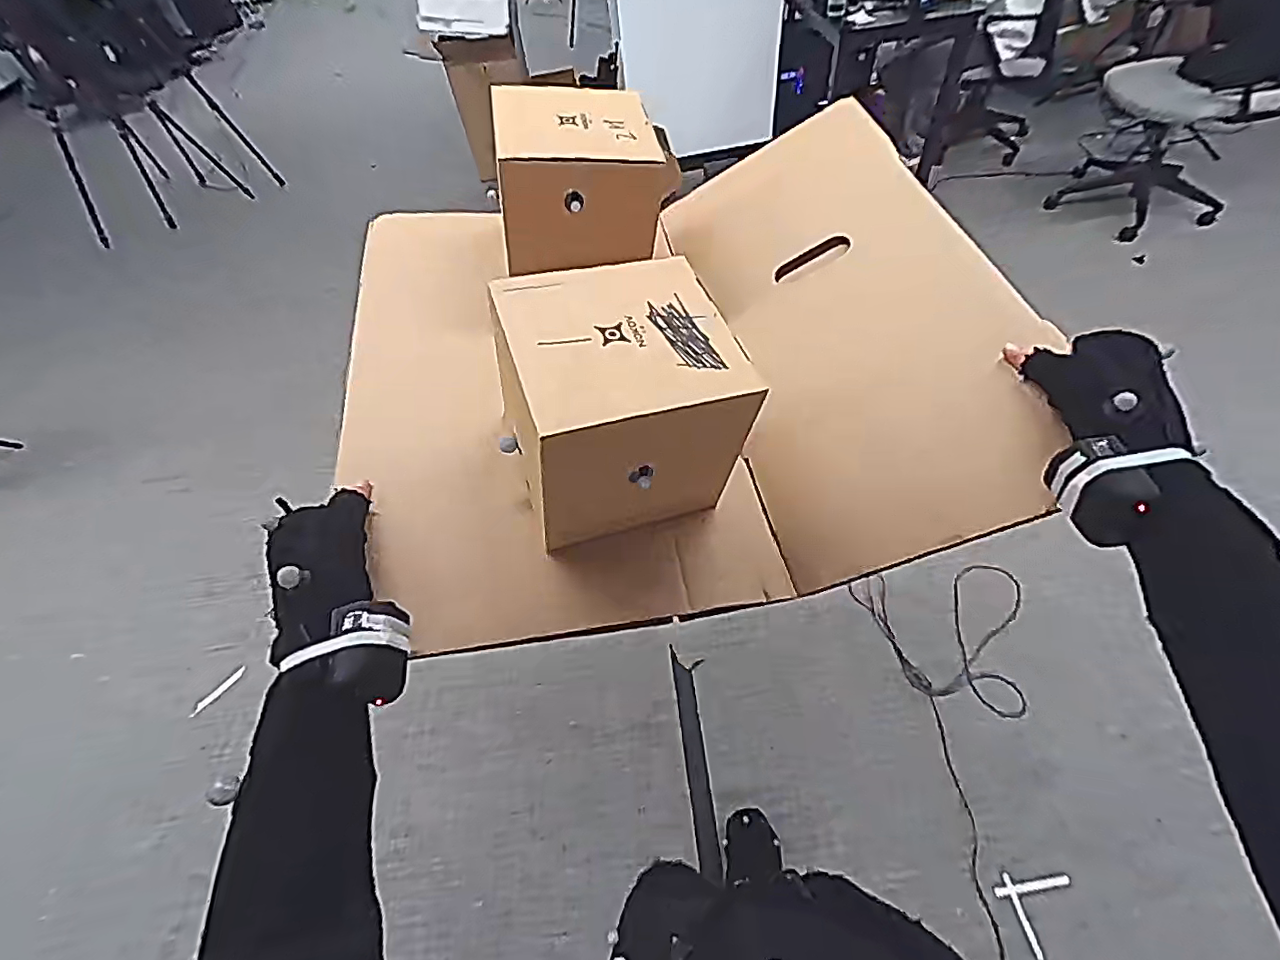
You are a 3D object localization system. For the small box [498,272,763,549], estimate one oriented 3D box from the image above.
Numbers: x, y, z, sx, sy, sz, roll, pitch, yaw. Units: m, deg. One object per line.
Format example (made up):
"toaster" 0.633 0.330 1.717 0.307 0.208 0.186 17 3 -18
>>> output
"small box" -0.021 -0.060 0.494 0.179 0.176 0.168 -14 59 -16

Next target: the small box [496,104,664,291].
"small box" -0.079 -0.334 0.672 0.179 0.176 0.168 -4 57 -12
